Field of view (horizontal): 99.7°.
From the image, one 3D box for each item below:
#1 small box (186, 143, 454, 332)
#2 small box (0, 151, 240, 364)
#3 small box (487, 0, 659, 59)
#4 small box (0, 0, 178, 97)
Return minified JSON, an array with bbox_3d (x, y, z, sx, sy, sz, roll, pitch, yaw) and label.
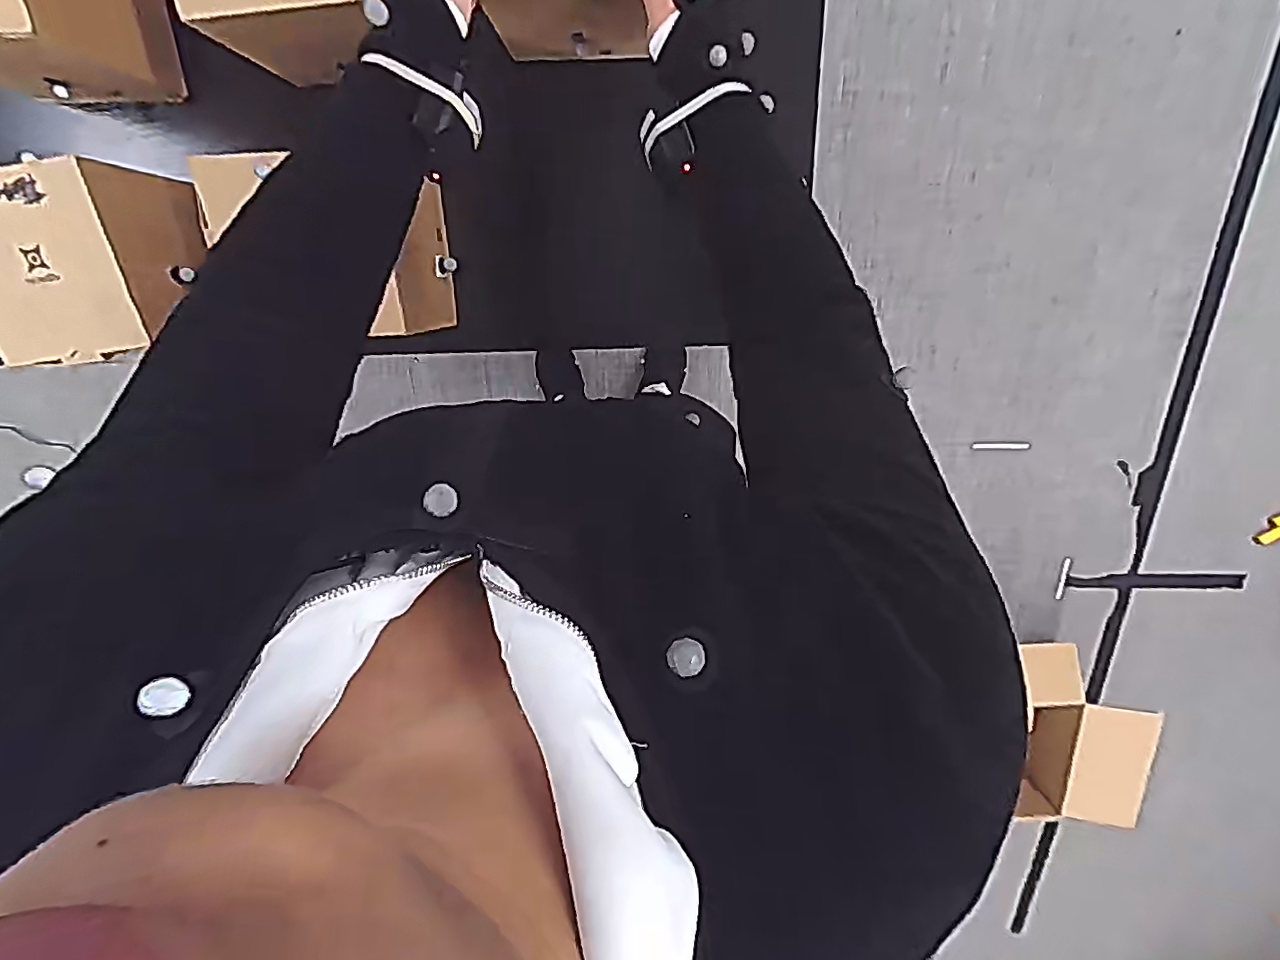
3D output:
[{"bbox_3d":[-0.324,-0.251,0.589,0.179,0.176,0.168,-2,109,1],"label":"small box"},{"bbox_3d":[-0.581,-0.236,0.596,0.168,0.176,0.179,-7,109,3],"label":"small box"},{"bbox_3d":[-0.064,-0.519,0.489,0.168,0.176,0.179,0,109,2],"label":"small box"},{"bbox_3d":[-0.598,-0.492,0.508,0.168,0.176,0.179,0,110,1],"label":"small box"}]
